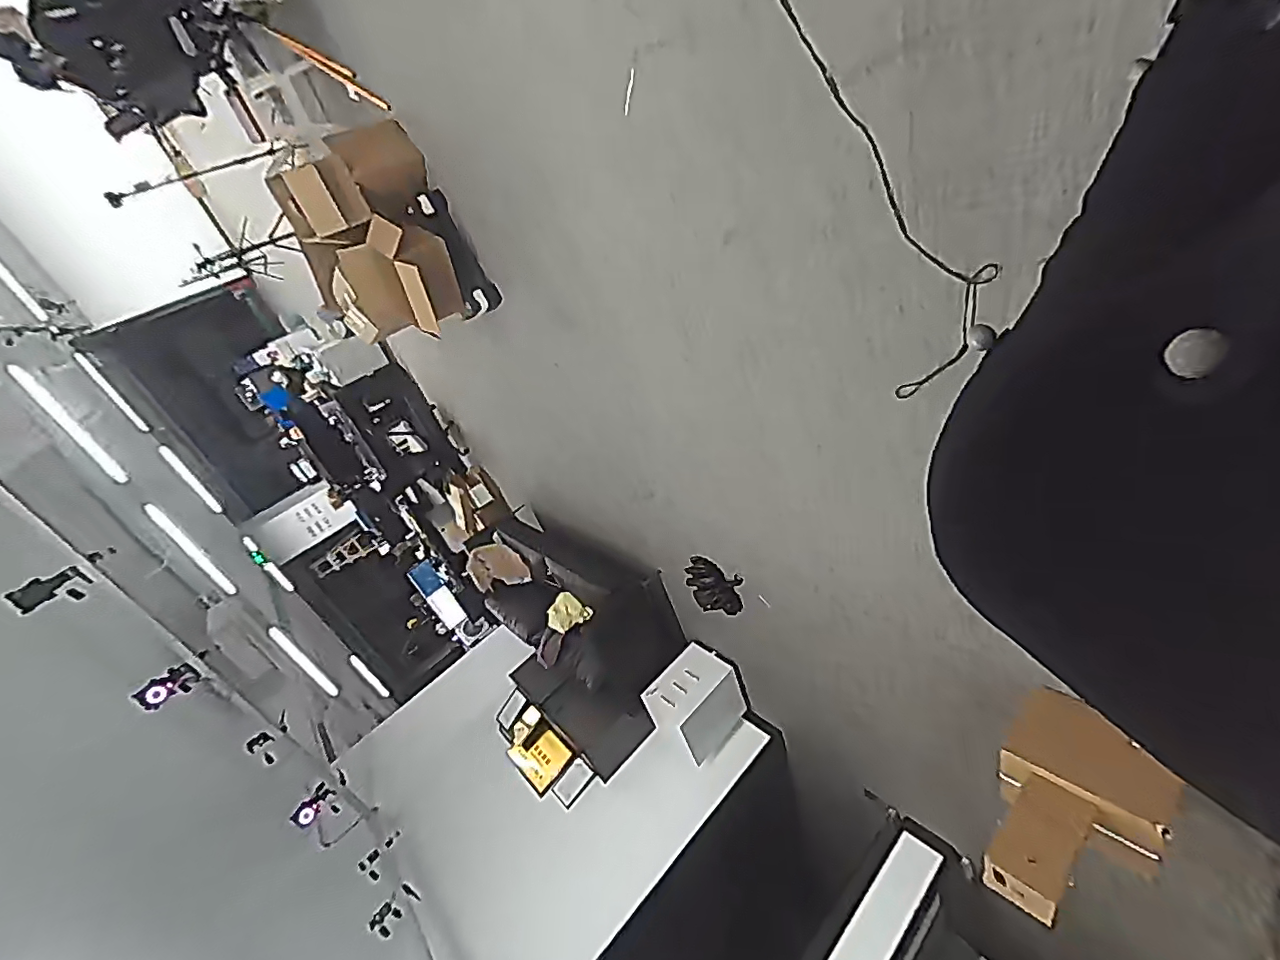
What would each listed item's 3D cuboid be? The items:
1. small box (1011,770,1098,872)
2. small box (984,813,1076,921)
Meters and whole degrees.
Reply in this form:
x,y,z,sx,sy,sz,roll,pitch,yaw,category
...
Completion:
x,y,z,sx,sy,sz,roll,pitch,yaw,category
1.278,1.045,1.672,0.179,0.176,0.168,20,139,49,small box
1.156,1.134,1.606,0.179,0.176,0.168,18,137,50,small box
